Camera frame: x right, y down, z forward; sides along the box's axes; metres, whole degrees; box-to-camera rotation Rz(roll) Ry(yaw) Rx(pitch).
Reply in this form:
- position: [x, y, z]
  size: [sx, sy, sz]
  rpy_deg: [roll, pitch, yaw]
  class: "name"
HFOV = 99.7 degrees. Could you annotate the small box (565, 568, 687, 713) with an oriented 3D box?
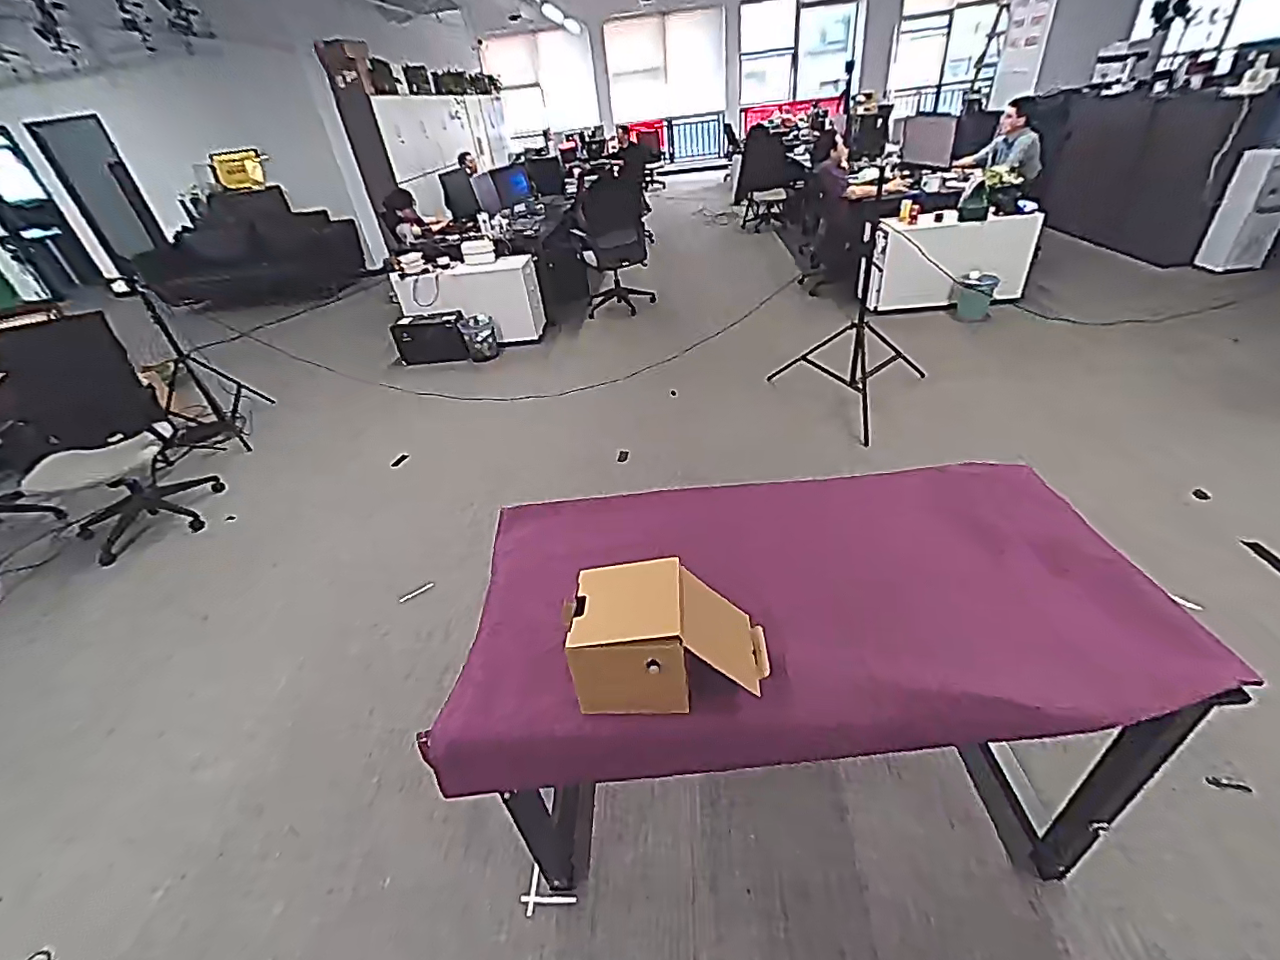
- position: [-0.011, 0.265, 0.894]
  size: [0.179, 0.176, 0.168]
  rpy_deg: [-4, 33, 6]
  class: "small box"
